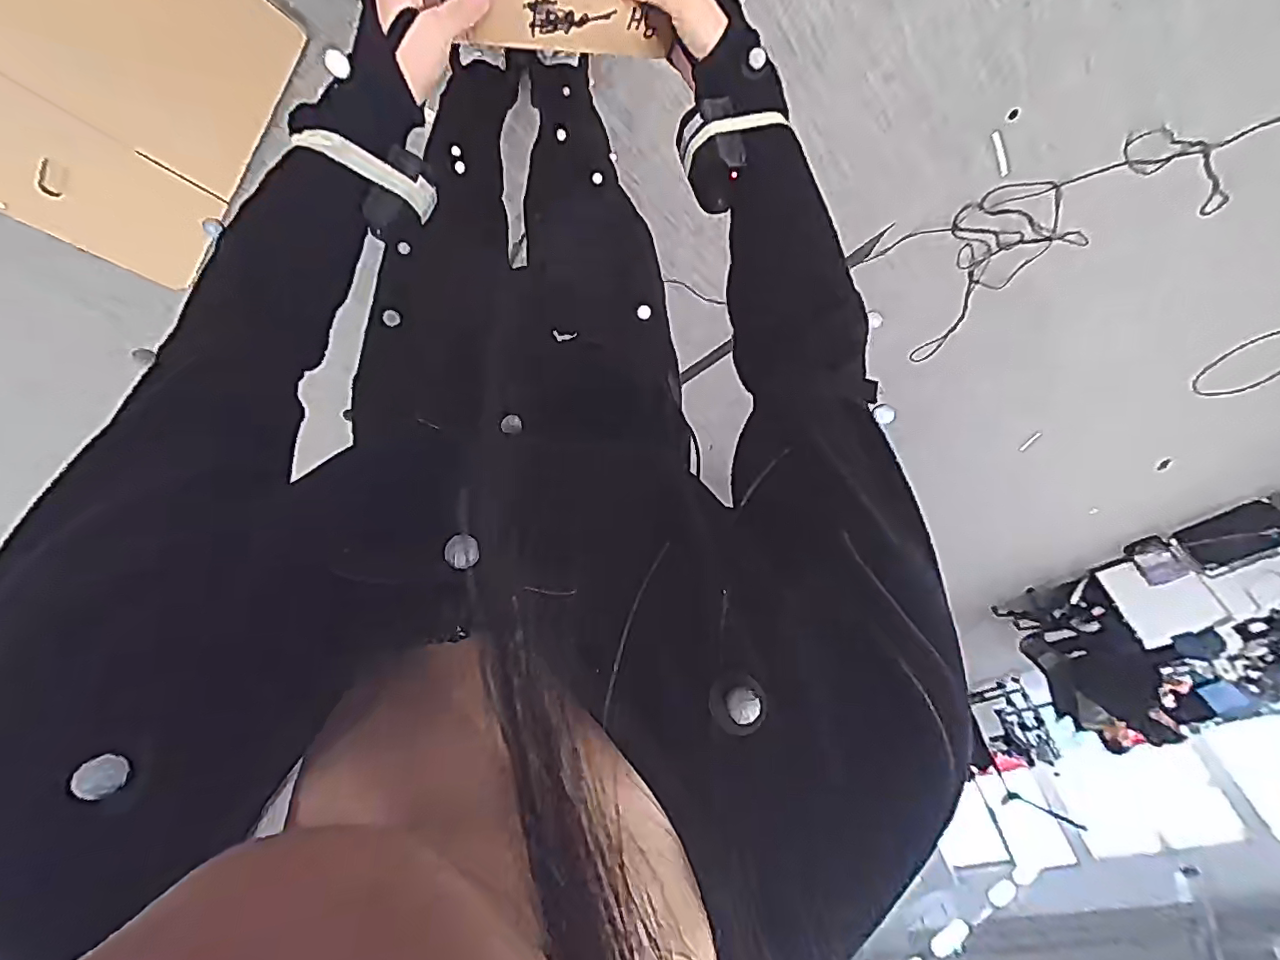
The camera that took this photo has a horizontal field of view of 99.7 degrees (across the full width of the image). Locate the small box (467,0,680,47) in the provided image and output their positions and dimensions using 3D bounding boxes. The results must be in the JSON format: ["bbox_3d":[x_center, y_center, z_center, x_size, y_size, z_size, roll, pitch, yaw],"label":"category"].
[{"bbox_3d":[-0.056,-0.461,0.387,0.168,0.176,0.179,-8,156,-16],"label":"small box"}]

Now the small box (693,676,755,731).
[{"bbox_3d":[0.340,0.919,2.220,0.179,0.176,0.168,-31,141,27],"label":"small box"}]
